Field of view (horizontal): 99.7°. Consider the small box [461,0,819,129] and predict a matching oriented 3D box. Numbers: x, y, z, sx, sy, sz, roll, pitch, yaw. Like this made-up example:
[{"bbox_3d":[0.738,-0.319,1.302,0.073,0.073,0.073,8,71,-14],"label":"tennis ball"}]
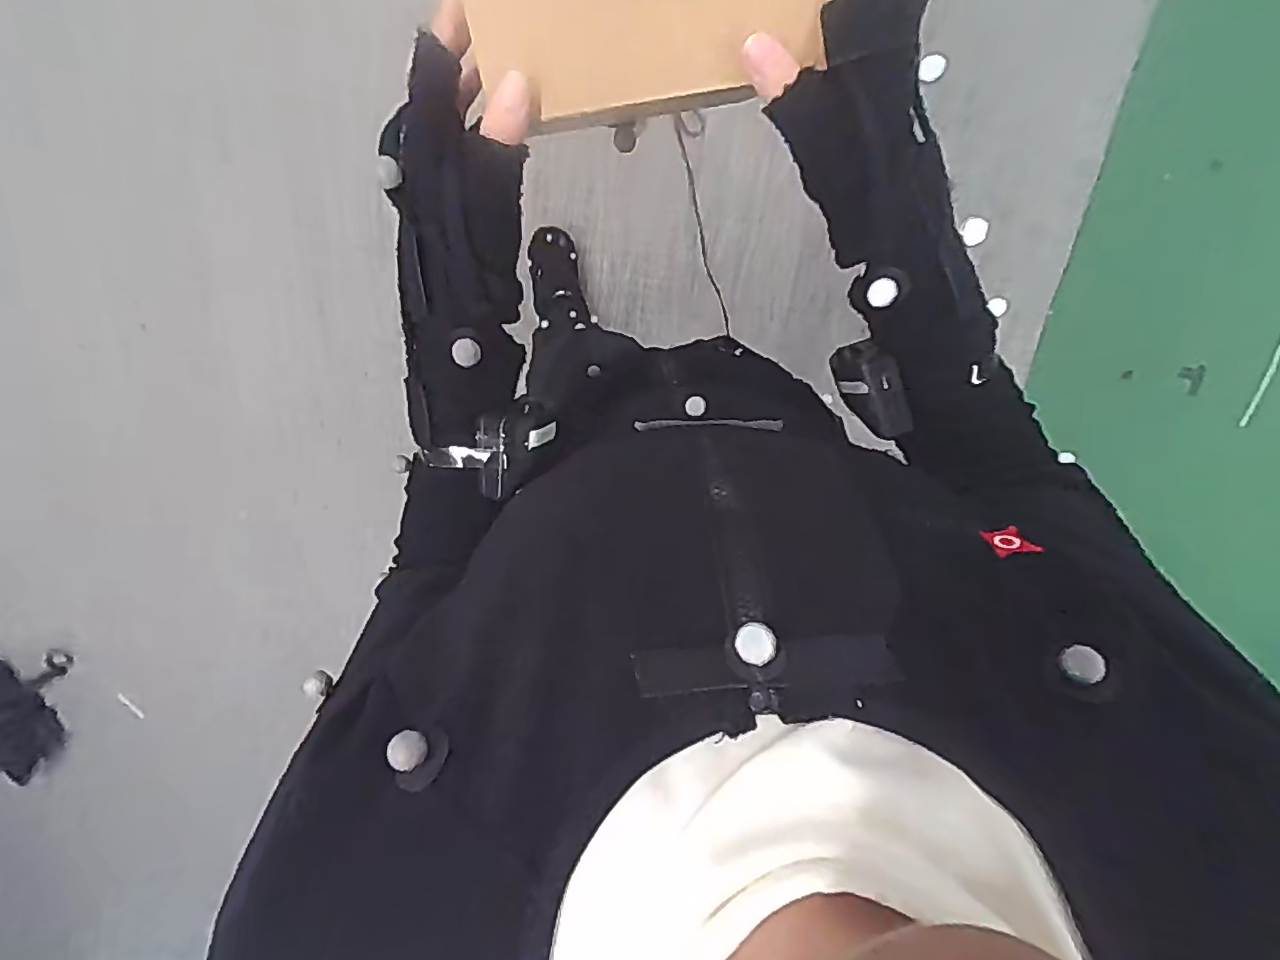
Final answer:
[{"bbox_3d":[-0.012,-0.304,0.287,0.168,0.176,0.179,-9,121,0],"label":"small box"}]
